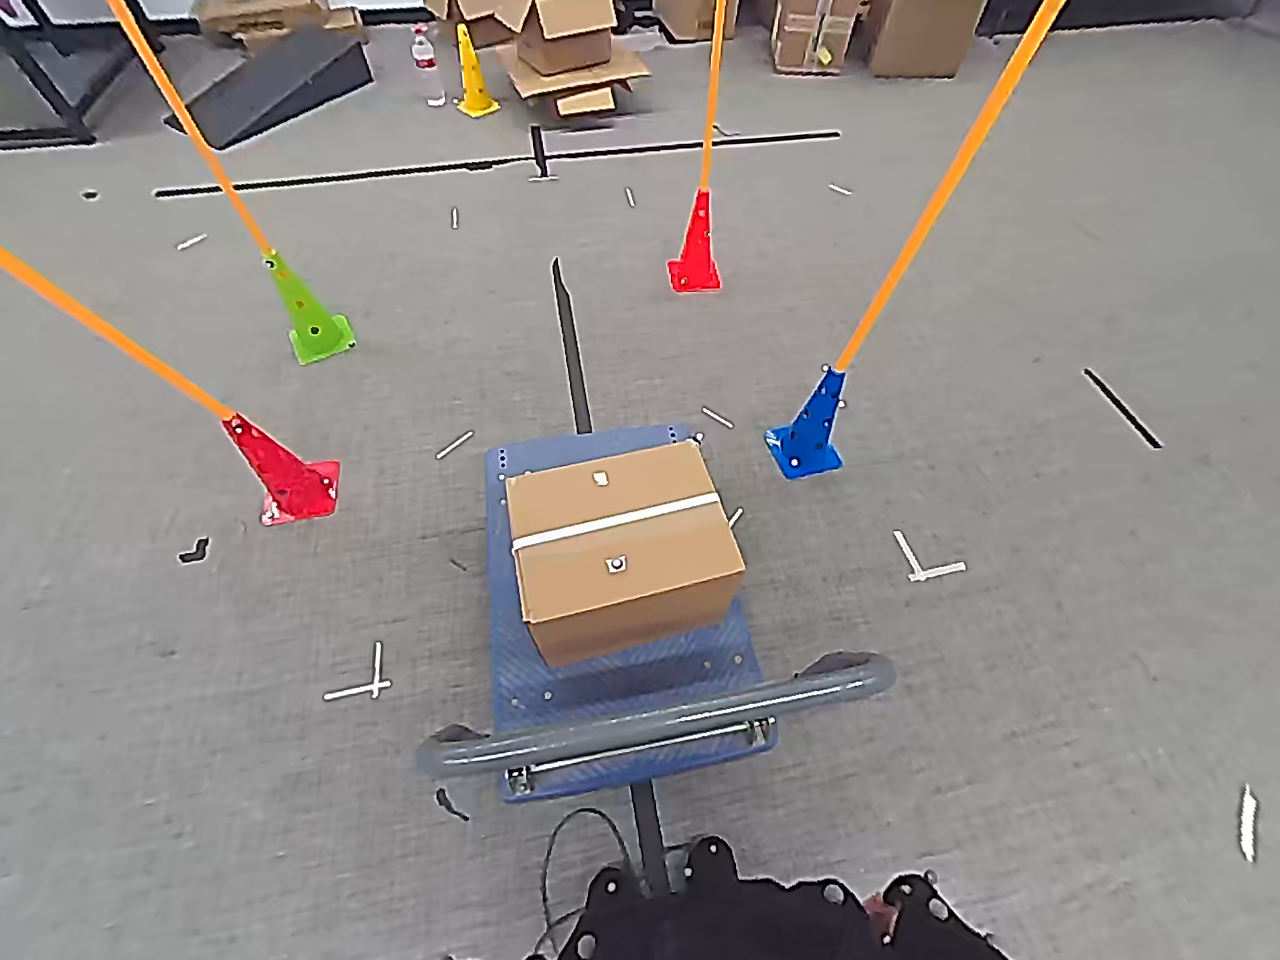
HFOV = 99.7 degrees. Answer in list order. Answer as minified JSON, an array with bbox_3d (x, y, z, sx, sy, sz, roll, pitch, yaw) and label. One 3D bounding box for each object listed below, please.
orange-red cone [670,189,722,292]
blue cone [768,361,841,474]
[{"bbox_3d":[0.232,-0.929,2.066,0.199,0.360,0.198,-3,58,-4],"label":"orange-red cone"},{"bbox_3d":[0.530,-0.198,1.612,0.193,0.380,0.192,-12,57,-9],"label":"blue cone"}]
